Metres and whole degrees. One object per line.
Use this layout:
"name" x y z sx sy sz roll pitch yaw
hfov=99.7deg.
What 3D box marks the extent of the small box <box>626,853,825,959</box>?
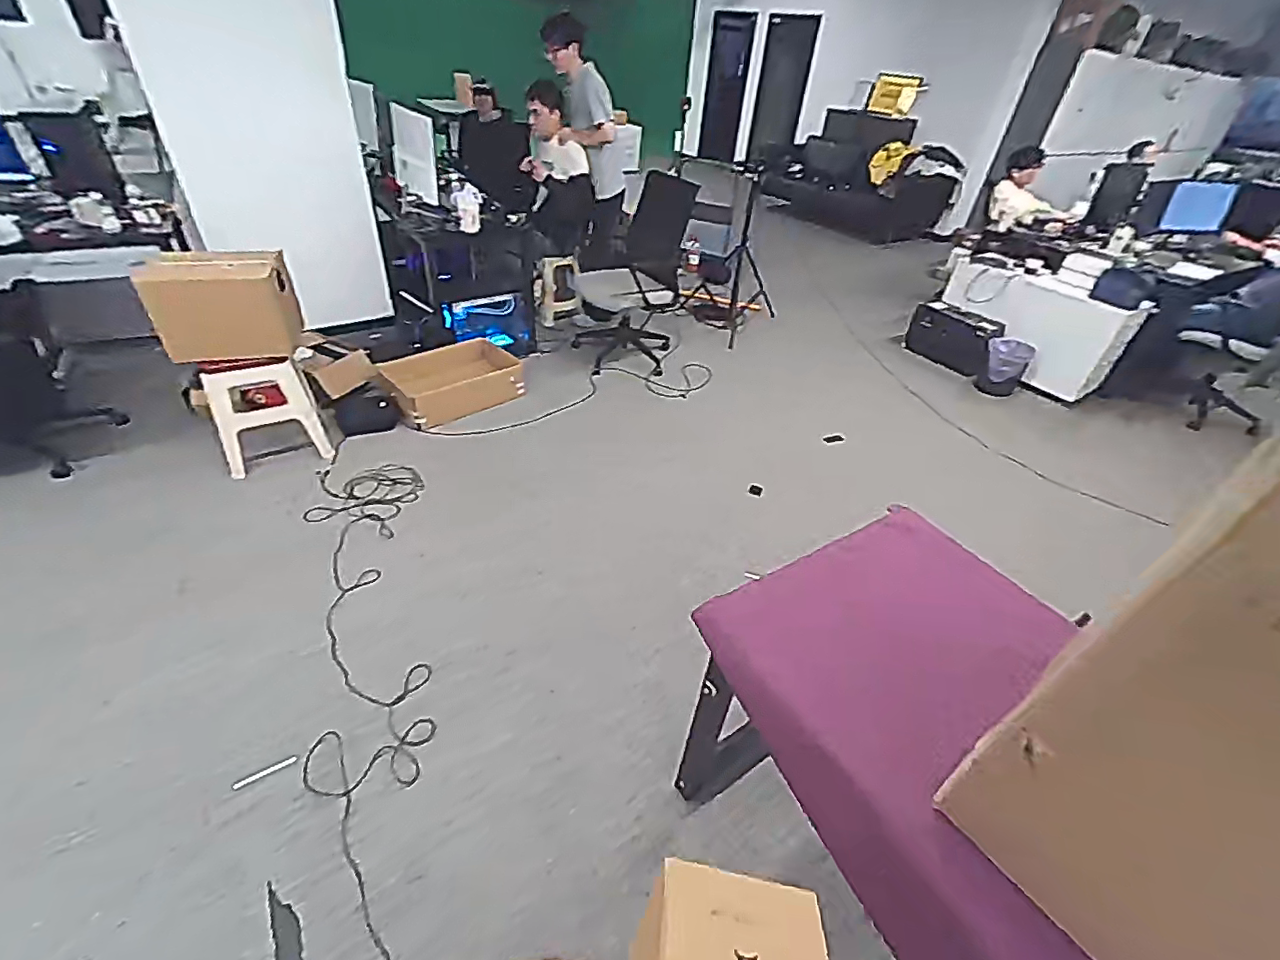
"small box" 0.074 0.512 0.513 0.168 0.176 0.179 15 20 0
